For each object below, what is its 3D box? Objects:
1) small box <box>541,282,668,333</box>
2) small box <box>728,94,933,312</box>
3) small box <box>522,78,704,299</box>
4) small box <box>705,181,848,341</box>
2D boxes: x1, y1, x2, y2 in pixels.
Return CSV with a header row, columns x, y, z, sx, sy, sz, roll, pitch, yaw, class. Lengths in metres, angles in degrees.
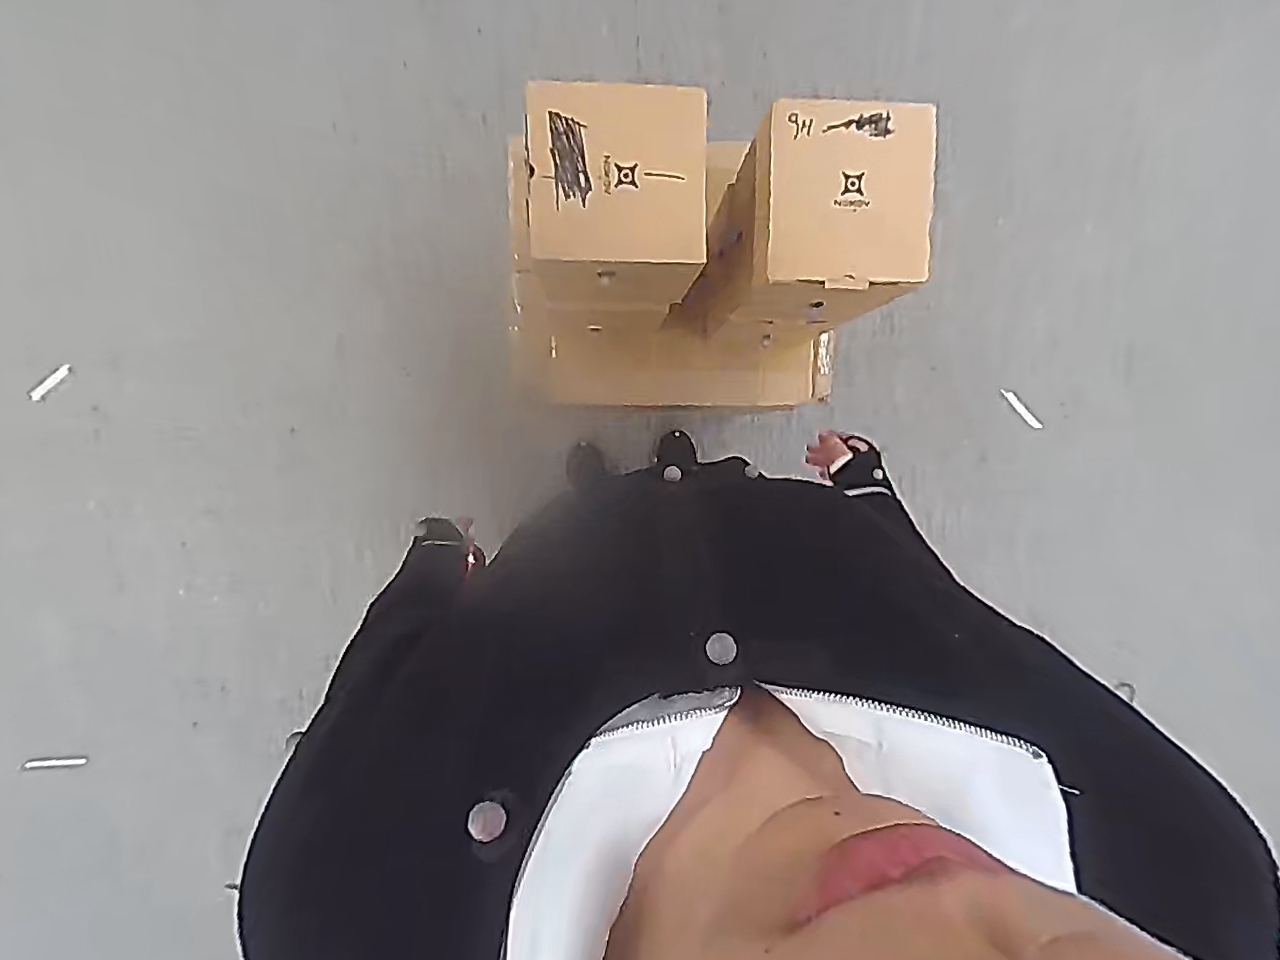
x,y,z,sx,sy,sz,roll,pitch,yaw,class
-0.051,-0.313,0.764,0.168,0.176,0.179,-1,96,-4,small box
0.200,-0.294,0.614,0.168,0.176,0.179,0,96,-4,small box
-0.030,-0.305,0.601,0.179,0.176,0.168,-1,95,-5,small box
0.188,-0.304,0.779,0.168,0.176,0.179,-1,95,-2,small box
